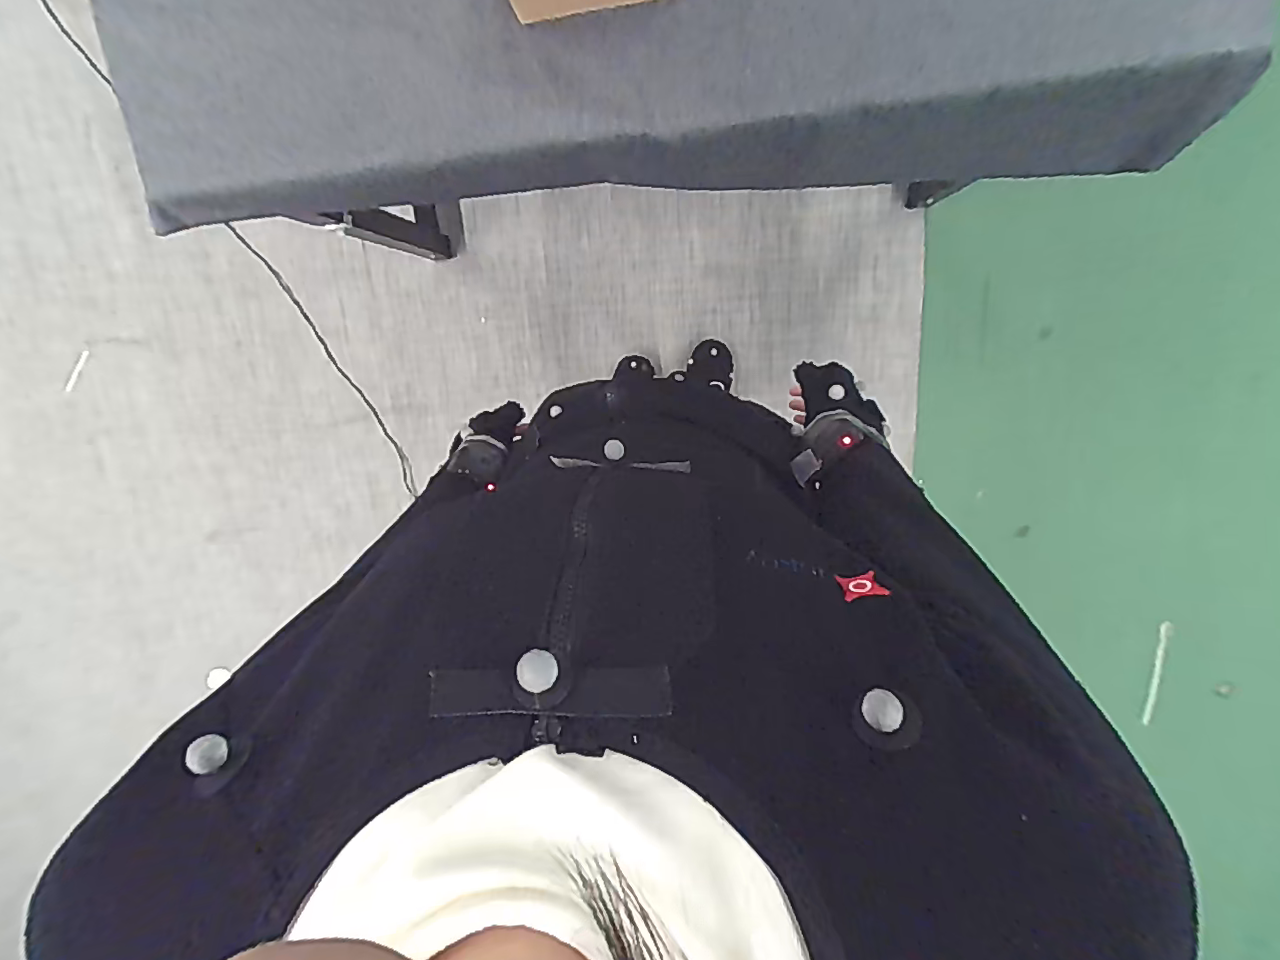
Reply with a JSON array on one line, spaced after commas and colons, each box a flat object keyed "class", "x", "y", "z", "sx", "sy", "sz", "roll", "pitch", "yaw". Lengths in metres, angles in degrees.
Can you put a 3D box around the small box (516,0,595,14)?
[{"class": "small box", "x": -0.055, "y": -0.546, "z": 0.455, "sx": 0.179, "sy": 0.176, "sz": 0.168, "roll": -9, "pitch": 105, "yaw": 6}]
